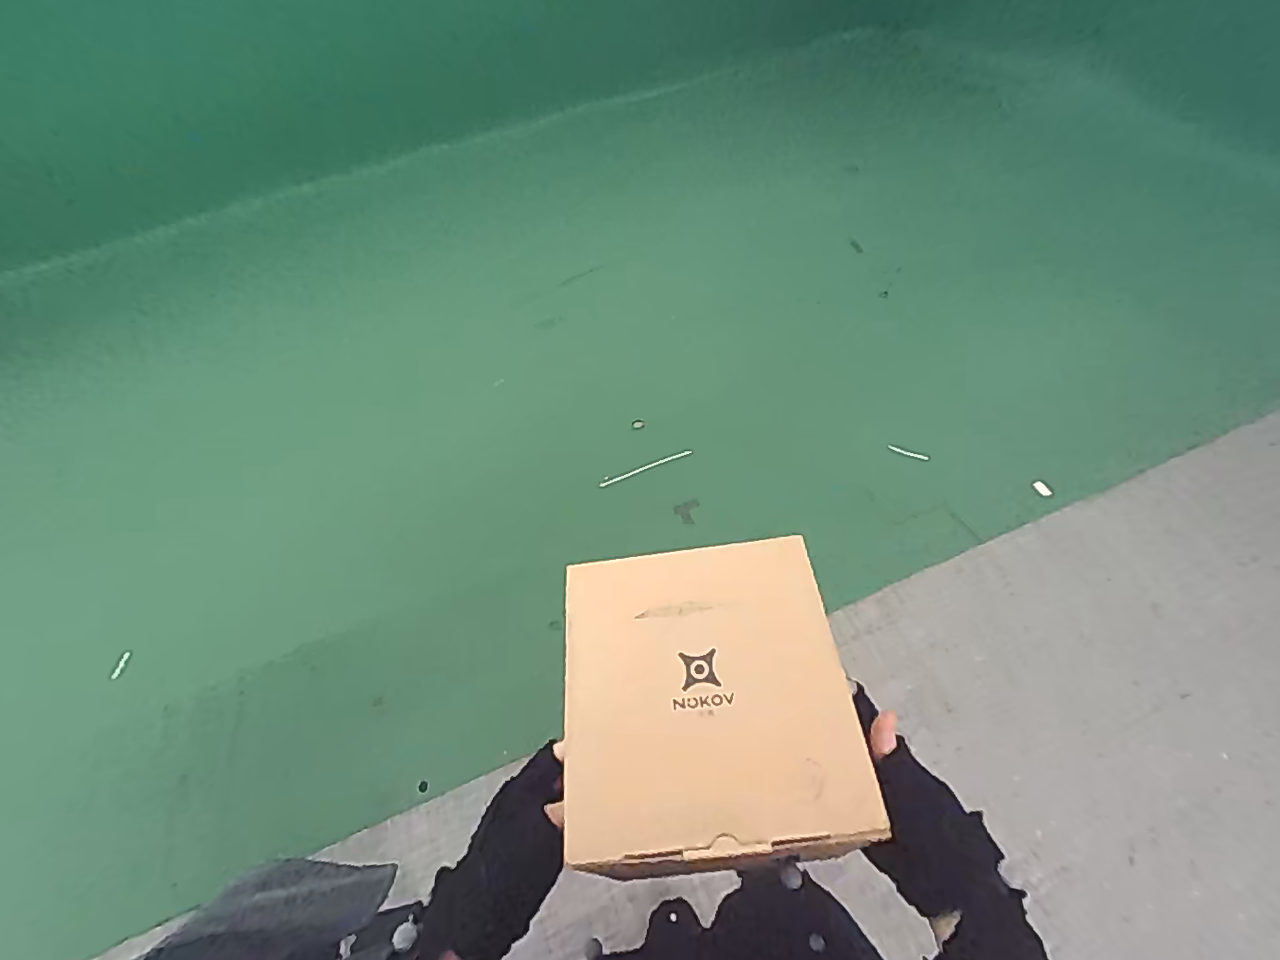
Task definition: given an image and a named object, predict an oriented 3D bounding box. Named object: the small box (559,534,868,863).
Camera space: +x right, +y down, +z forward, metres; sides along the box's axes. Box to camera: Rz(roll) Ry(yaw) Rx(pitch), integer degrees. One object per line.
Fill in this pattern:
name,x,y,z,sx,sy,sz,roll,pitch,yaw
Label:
small box,0.042,0.165,0.392,0.168,0.176,0.179,-9,51,3
